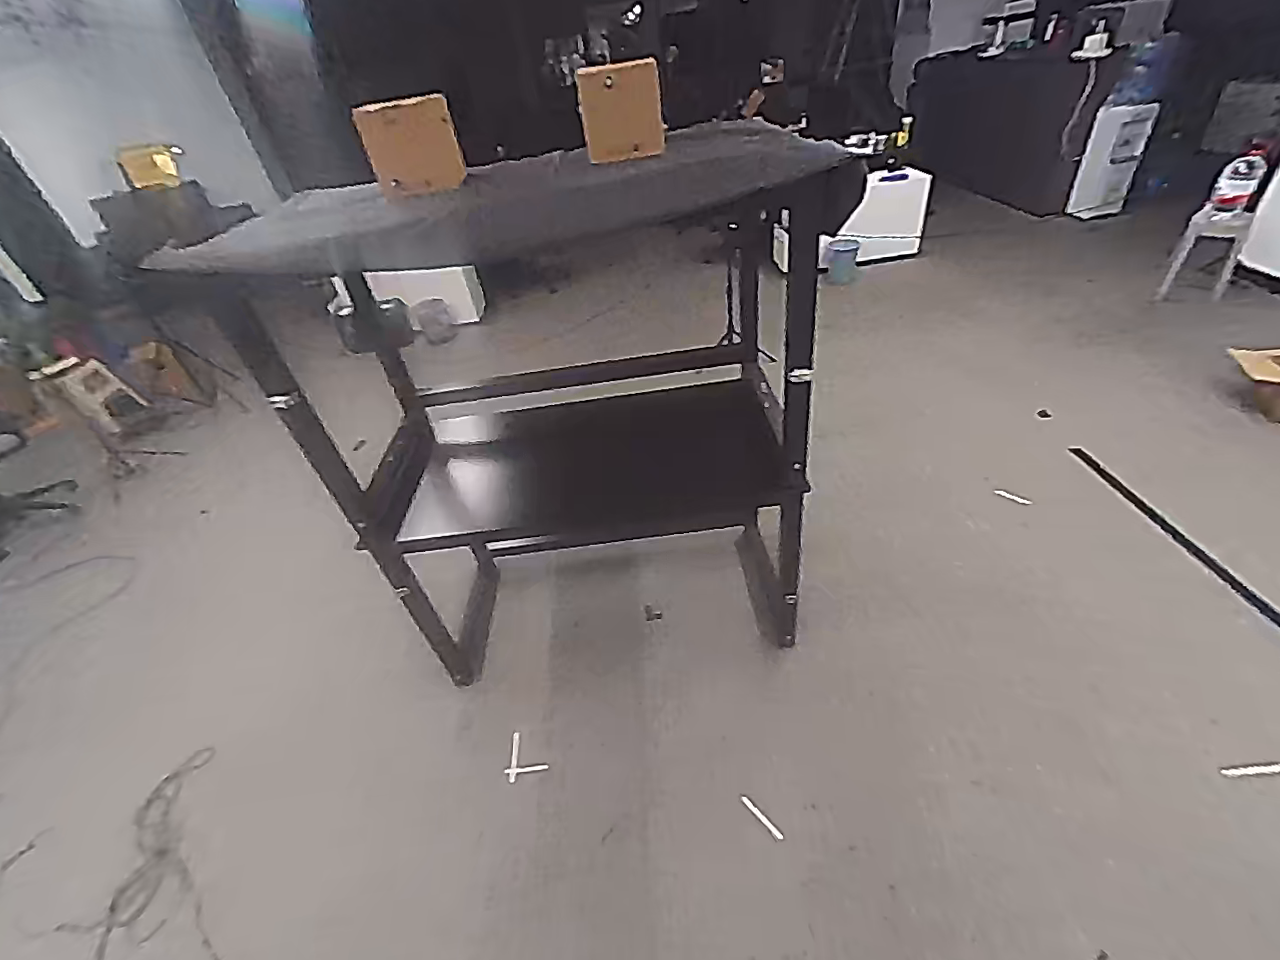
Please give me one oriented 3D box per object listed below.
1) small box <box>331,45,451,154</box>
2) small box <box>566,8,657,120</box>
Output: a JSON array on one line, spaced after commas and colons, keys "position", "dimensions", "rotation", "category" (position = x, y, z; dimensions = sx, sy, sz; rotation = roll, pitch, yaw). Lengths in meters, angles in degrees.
[{"position": [-0.525, -0.820, 1.171], "dimensions": [0.168, 0.176, 0.179], "rotation": [-10, 39, -1], "category": "small box"}, {"position": [-0.057, -0.886, 1.159], "dimensions": [0.168, 0.176, 0.179], "rotation": [-7, 39, 3], "category": "small box"}]
